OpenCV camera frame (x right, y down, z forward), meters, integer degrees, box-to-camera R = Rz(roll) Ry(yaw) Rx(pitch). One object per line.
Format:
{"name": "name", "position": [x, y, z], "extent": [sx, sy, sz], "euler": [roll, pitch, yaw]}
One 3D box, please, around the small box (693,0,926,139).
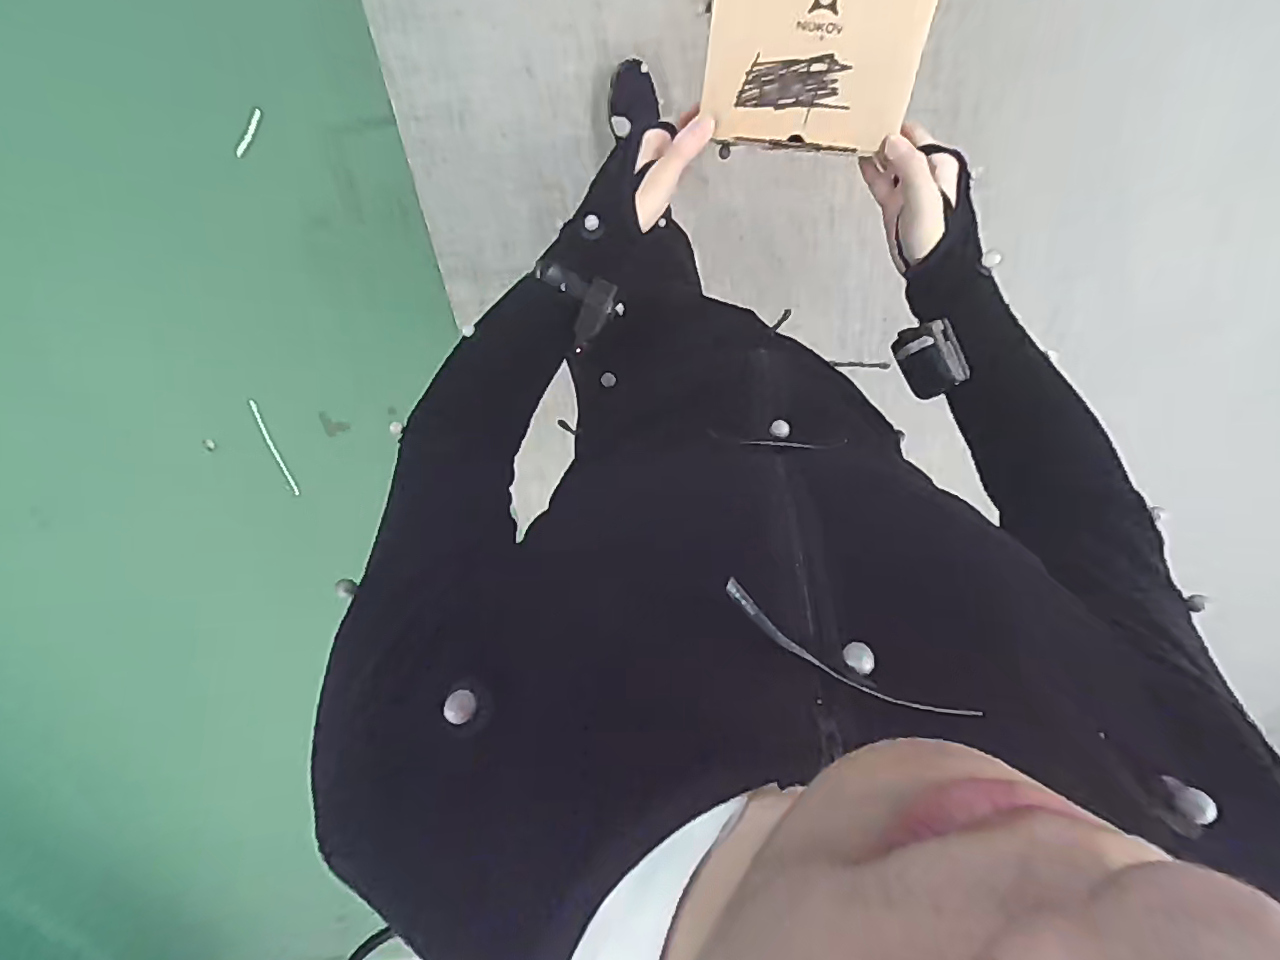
{"name": "small box", "position": [0.142, -0.410, 0.474], "extent": [0.168, 0.176, 0.179], "euler": [7, 120, 2]}
